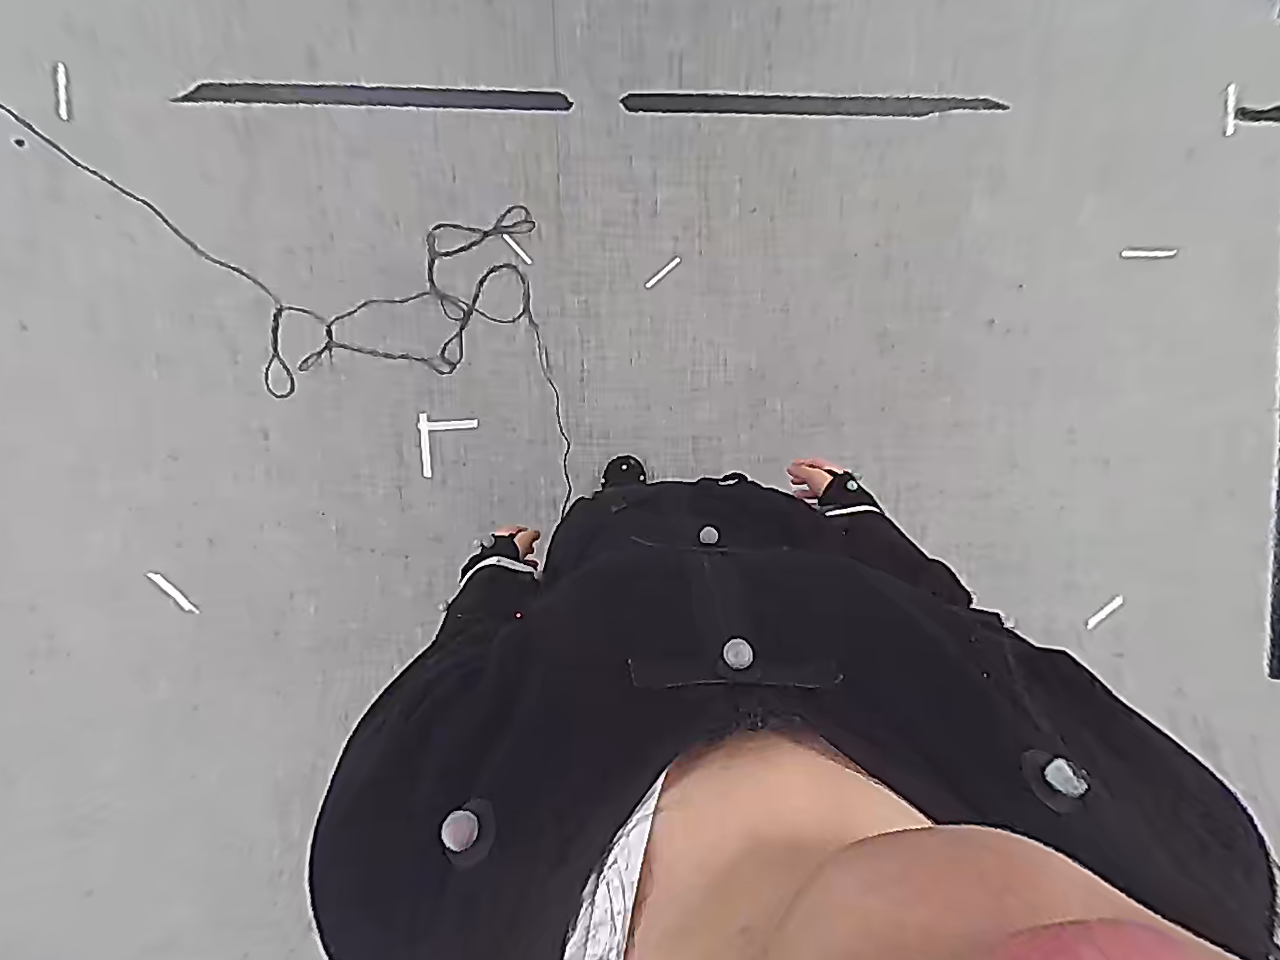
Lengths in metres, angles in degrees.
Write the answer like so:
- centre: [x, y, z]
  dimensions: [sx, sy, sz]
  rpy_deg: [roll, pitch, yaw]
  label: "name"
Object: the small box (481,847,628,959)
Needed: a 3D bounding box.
- centre: [-0.099, 0.609, 0.683]
  dimensions: [0.168, 0.176, 0.179]
  rpy_deg: [1, 93, -2]
  label: "small box"
